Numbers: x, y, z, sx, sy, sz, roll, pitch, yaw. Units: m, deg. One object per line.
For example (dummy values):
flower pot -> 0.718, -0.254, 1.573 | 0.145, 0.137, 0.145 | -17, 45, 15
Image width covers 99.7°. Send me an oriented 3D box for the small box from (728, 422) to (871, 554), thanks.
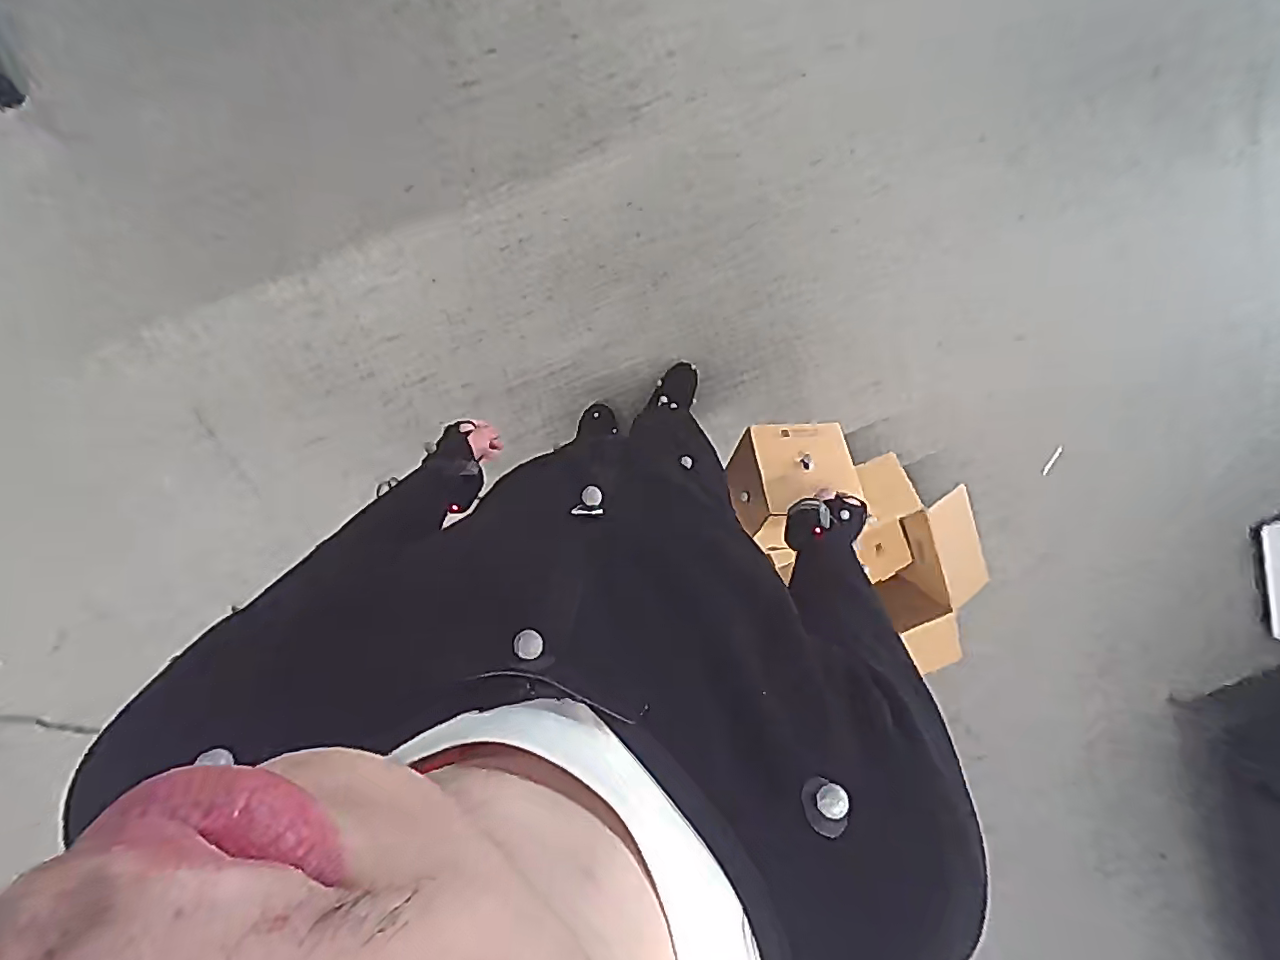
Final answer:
small box -> 0.263, 0.010, 0.943 | 0.168, 0.179, 0.176 | -5, 60, -8
